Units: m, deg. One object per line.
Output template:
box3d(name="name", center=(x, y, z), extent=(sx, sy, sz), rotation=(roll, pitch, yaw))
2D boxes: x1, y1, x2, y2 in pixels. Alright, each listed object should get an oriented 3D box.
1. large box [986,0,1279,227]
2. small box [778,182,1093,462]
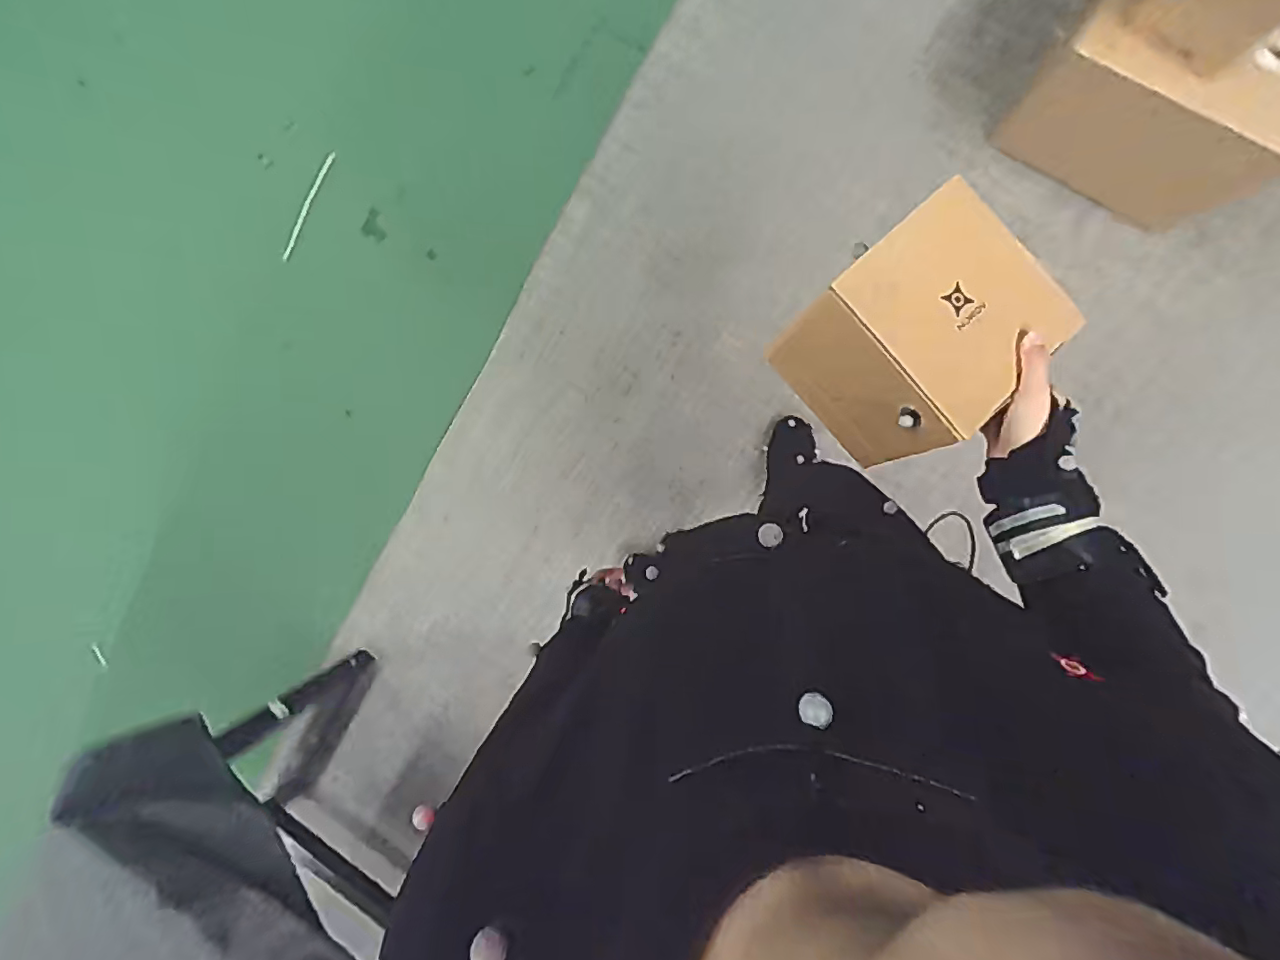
box3d(name="large box", center=(0.957, -0.738, 0.979), extent=(0.408, 0.320, 0.320), rotation=(31, 101, 5))
box3d(name="small box", center=(0.270, -0.138, 0.537), extent=(0.168, 0.176, 0.179), rotation=(-40, 89, -9))
